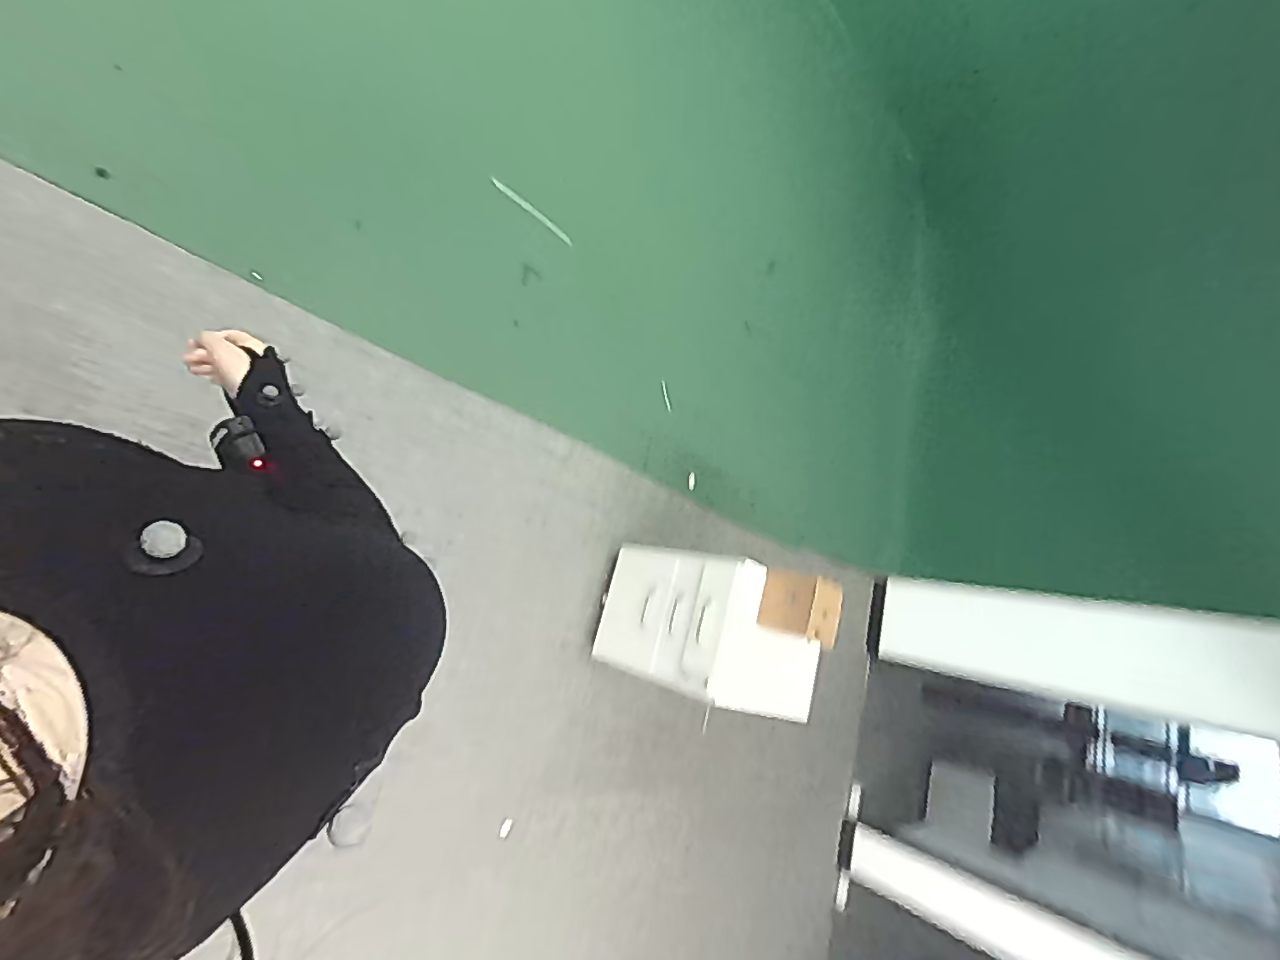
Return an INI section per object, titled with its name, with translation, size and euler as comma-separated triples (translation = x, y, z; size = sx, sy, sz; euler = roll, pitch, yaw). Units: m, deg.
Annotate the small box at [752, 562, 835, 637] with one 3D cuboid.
[small box]
translation = 0.455, 0.351, 1.610
size = 0.168, 0.176, 0.179
euler = 26, 72, -40
